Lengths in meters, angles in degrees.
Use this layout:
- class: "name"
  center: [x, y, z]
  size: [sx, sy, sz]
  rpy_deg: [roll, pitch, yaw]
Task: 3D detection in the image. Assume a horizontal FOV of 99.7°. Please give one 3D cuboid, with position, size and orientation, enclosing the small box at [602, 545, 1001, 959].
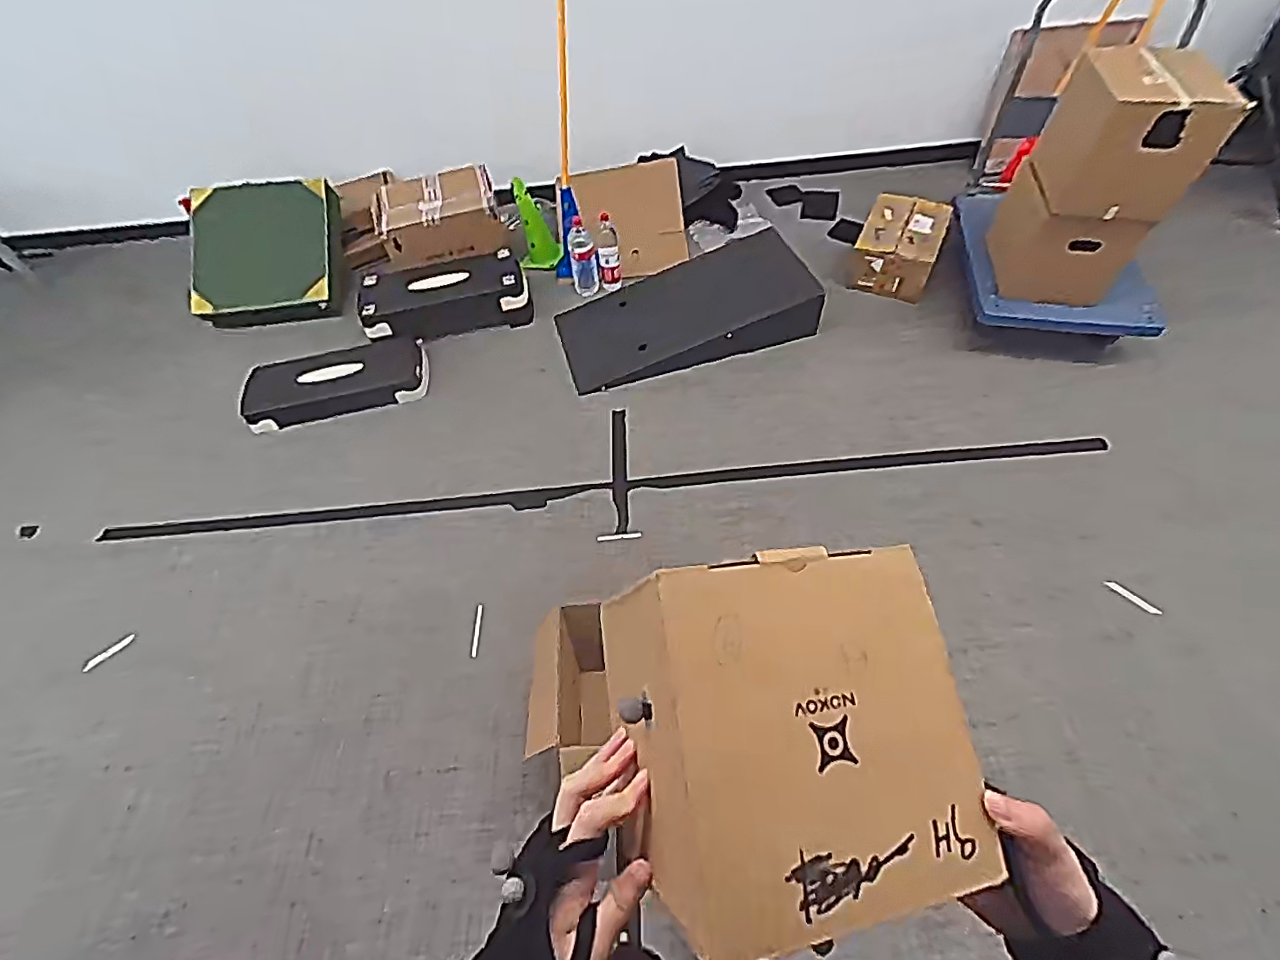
- class: "small box"
  center: [0.076, 0.151, 0.353]
  size: [0.168, 0.176, 0.179]
  rpy_deg: [-3, 71, -16]
